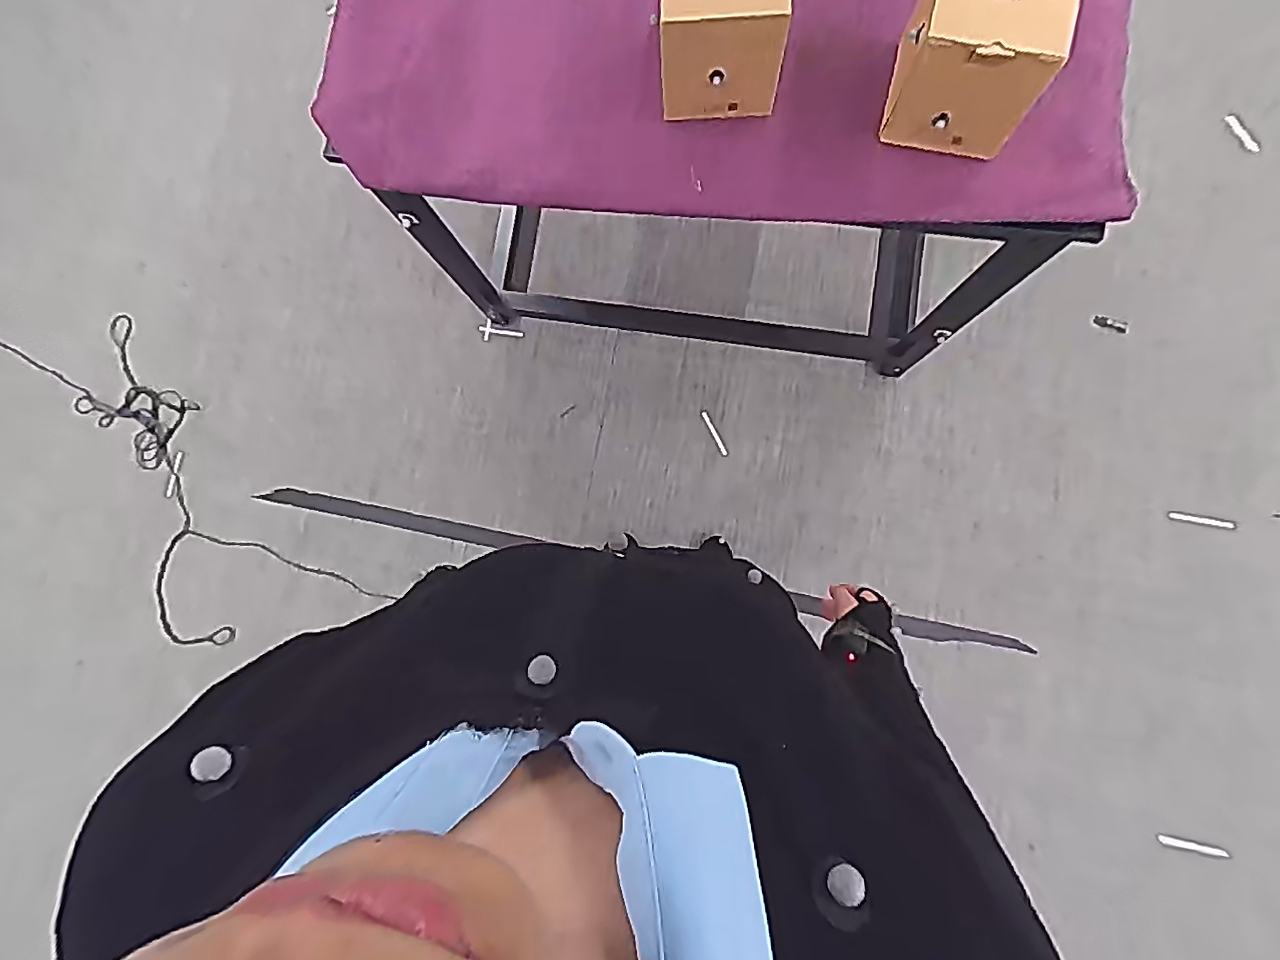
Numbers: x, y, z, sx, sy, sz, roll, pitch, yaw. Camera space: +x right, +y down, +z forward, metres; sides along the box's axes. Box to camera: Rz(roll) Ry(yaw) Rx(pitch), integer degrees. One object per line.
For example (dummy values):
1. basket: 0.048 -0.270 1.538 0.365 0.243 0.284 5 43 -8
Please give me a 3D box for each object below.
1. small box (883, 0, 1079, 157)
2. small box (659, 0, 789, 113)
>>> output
1. small box: 0.451 -0.585 0.732 0.168 0.176 0.179 14 84 6
2. small box: 0.114 -0.655 0.767 0.168 0.176 0.179 1 83 4
